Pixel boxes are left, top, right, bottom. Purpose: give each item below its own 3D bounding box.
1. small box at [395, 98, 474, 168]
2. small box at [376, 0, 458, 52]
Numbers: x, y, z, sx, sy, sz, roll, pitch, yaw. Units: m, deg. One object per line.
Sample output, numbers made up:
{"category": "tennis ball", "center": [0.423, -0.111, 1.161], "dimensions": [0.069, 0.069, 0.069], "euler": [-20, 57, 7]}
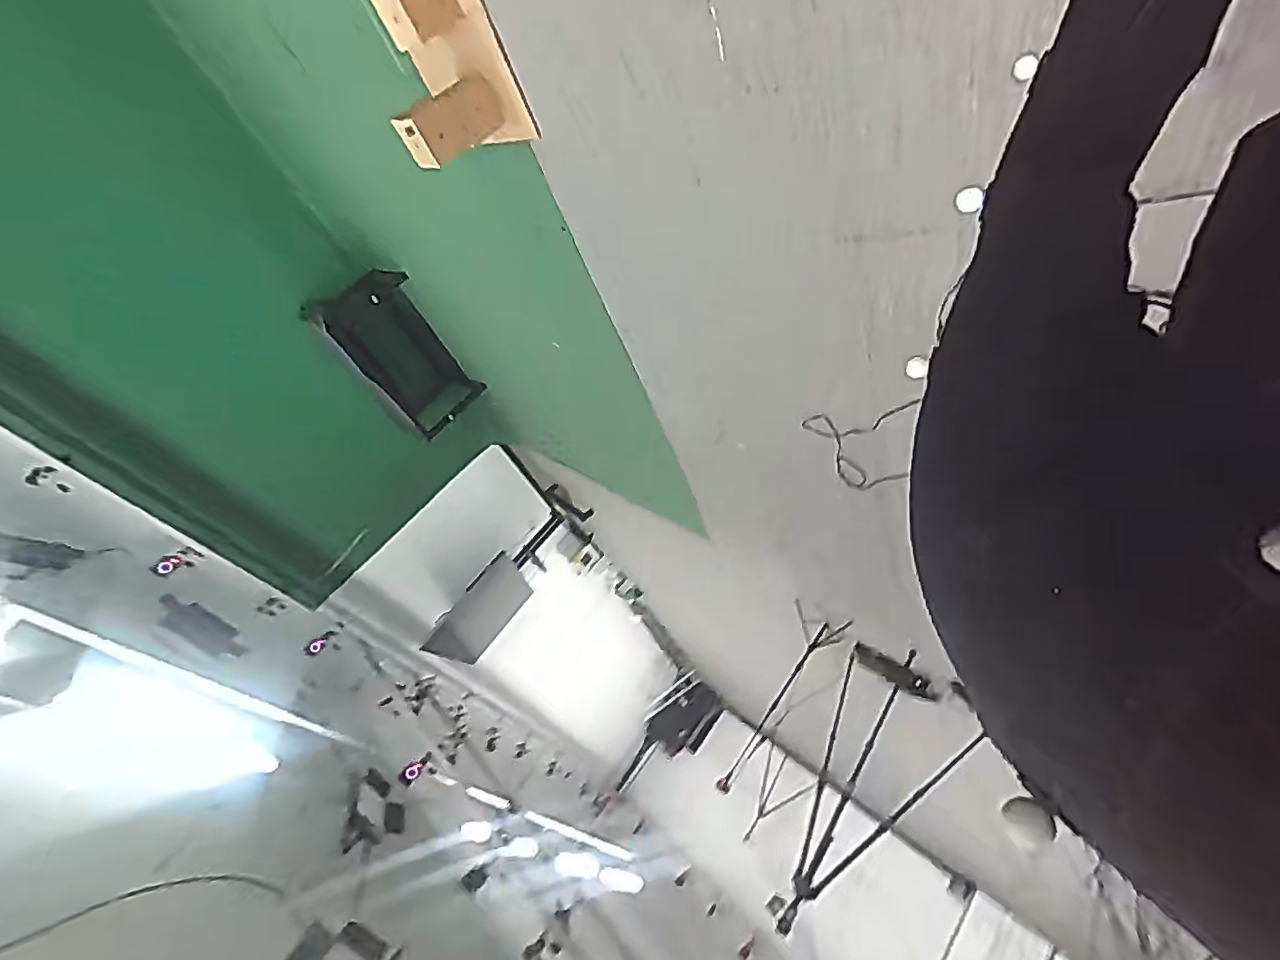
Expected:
{"category": "small box", "center": [-0.762, -1.298, 2.017], "dimensions": [0.168, 0.176, 0.179], "euler": [27, 159, 36]}
{"category": "small box", "center": [-0.758, -1.609, 1.846], "dimensions": [0.179, 0.176, 0.168], "euler": [24, 155, 40]}
